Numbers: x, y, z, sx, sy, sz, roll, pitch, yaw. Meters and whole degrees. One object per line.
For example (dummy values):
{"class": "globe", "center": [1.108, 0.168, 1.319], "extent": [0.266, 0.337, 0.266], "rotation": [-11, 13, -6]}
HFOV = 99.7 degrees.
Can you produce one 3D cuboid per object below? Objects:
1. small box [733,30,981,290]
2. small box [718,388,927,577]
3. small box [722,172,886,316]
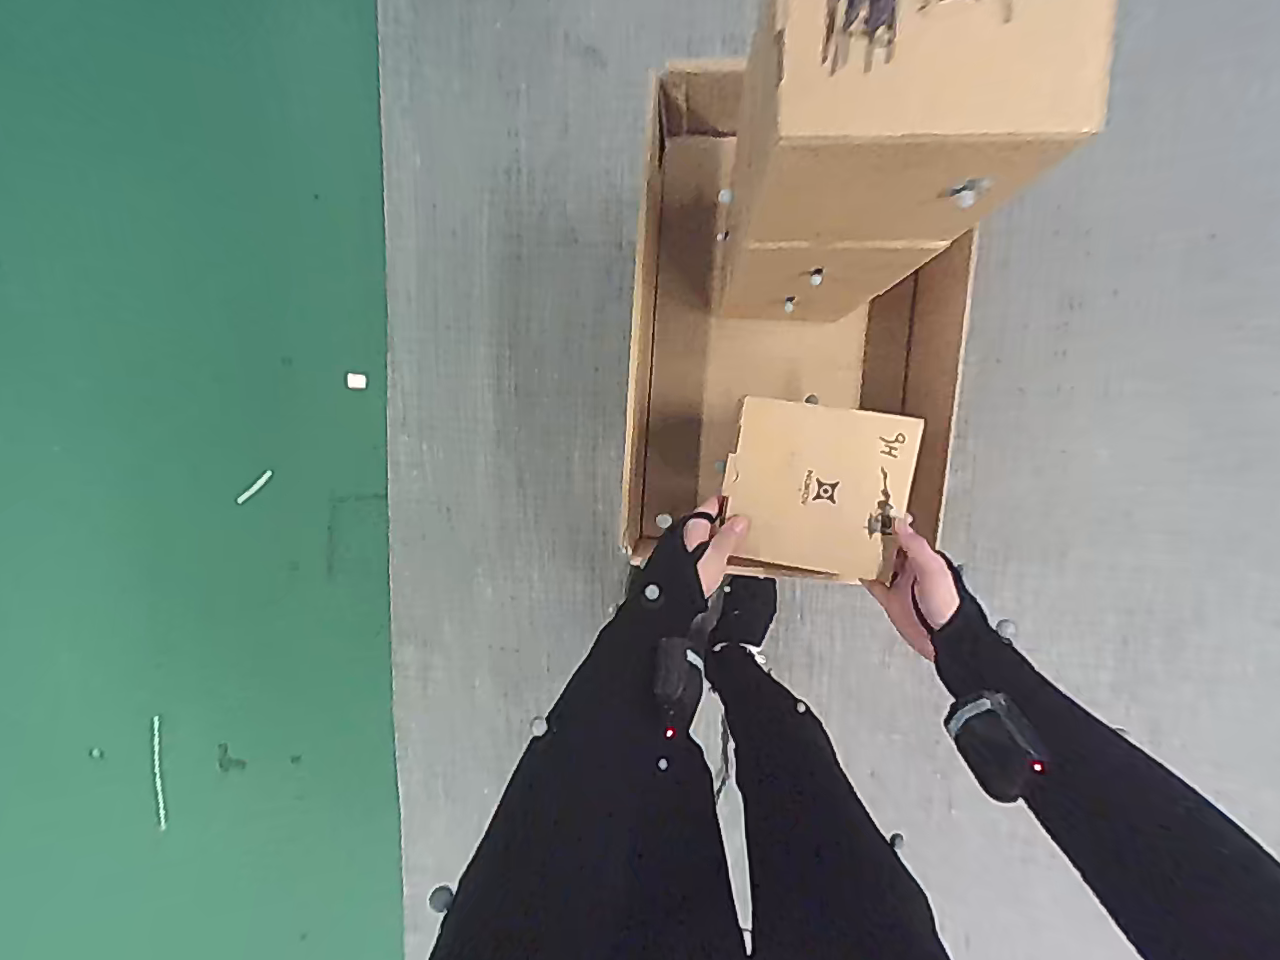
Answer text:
{"class": "small box", "center": [0.189, -0.289, 0.524], "extent": [0.179, 0.176, 0.168], "rotation": [3, 96, 6]}
{"class": "small box", "center": [0.189, -0.005, 0.614], "extent": [0.179, 0.176, 0.168], "rotation": [10, 98, 7]}
{"class": "small box", "center": [0.204, -0.310, 0.687], "extent": [0.179, 0.176, 0.168], "rotation": [4, 96, 4]}
